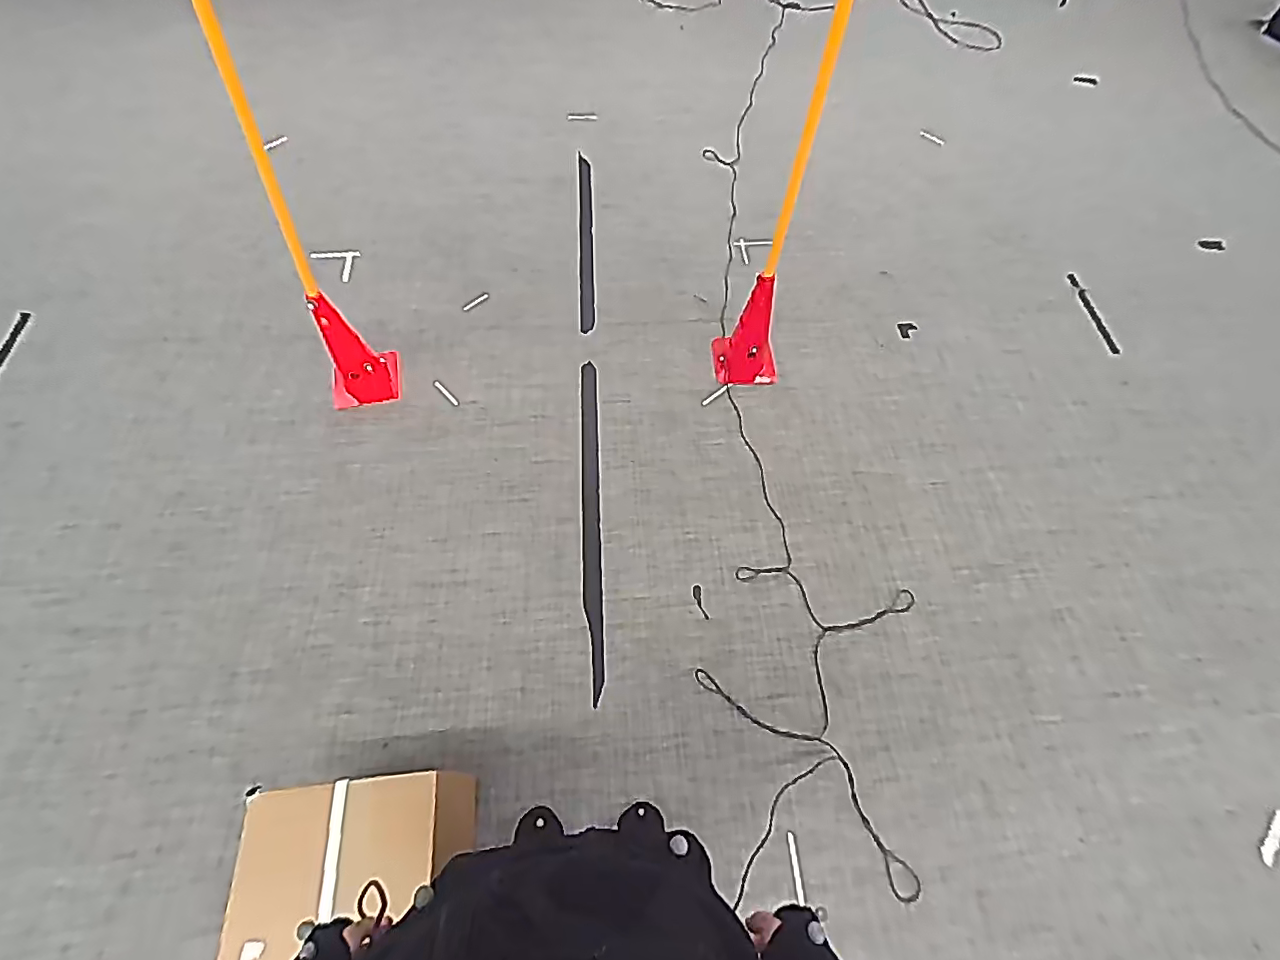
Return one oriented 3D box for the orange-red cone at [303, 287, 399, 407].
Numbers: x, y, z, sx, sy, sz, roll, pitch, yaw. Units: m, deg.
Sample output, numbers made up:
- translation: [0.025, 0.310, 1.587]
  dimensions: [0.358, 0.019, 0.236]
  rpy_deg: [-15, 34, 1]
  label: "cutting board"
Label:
- translation: [-0.855, -0.399, 1.545]
  dimensions: [0.199, 0.360, 0.198]
  rpy_deg: [-11, 62, -7]
  label: "orange-red cone"
